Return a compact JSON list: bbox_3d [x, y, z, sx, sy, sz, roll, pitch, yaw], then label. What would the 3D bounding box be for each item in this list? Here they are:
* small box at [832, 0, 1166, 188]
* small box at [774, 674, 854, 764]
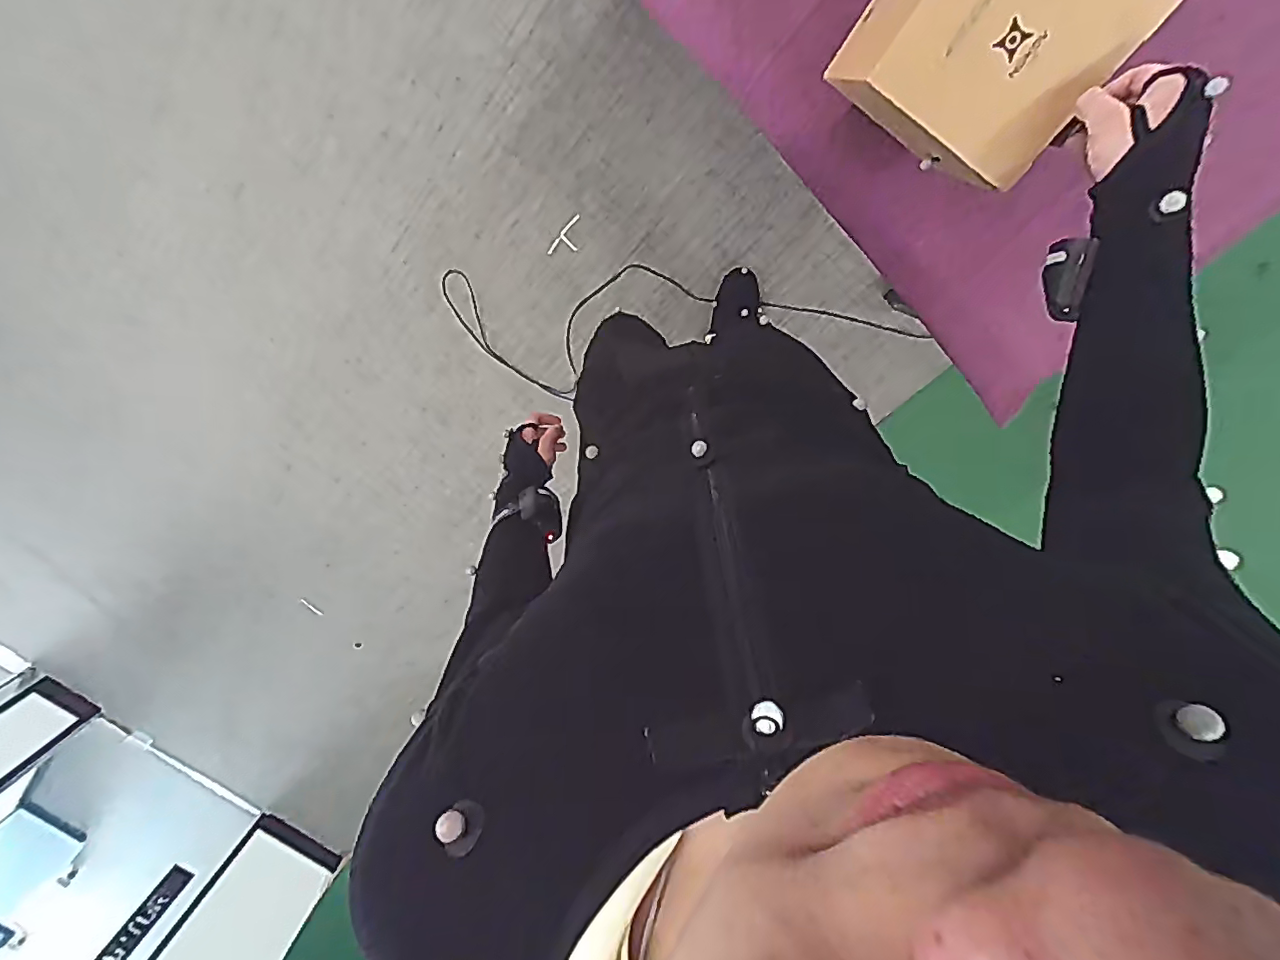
[{"bbox_3d":[0.320,-0.423,0.522,0.179,0.176,0.168,26,124,-17],"label":"small box"},{"bbox_3d":[0.538,0.741,1.701,0.179,0.176,0.168,45,113,-10],"label":"small box"}]
